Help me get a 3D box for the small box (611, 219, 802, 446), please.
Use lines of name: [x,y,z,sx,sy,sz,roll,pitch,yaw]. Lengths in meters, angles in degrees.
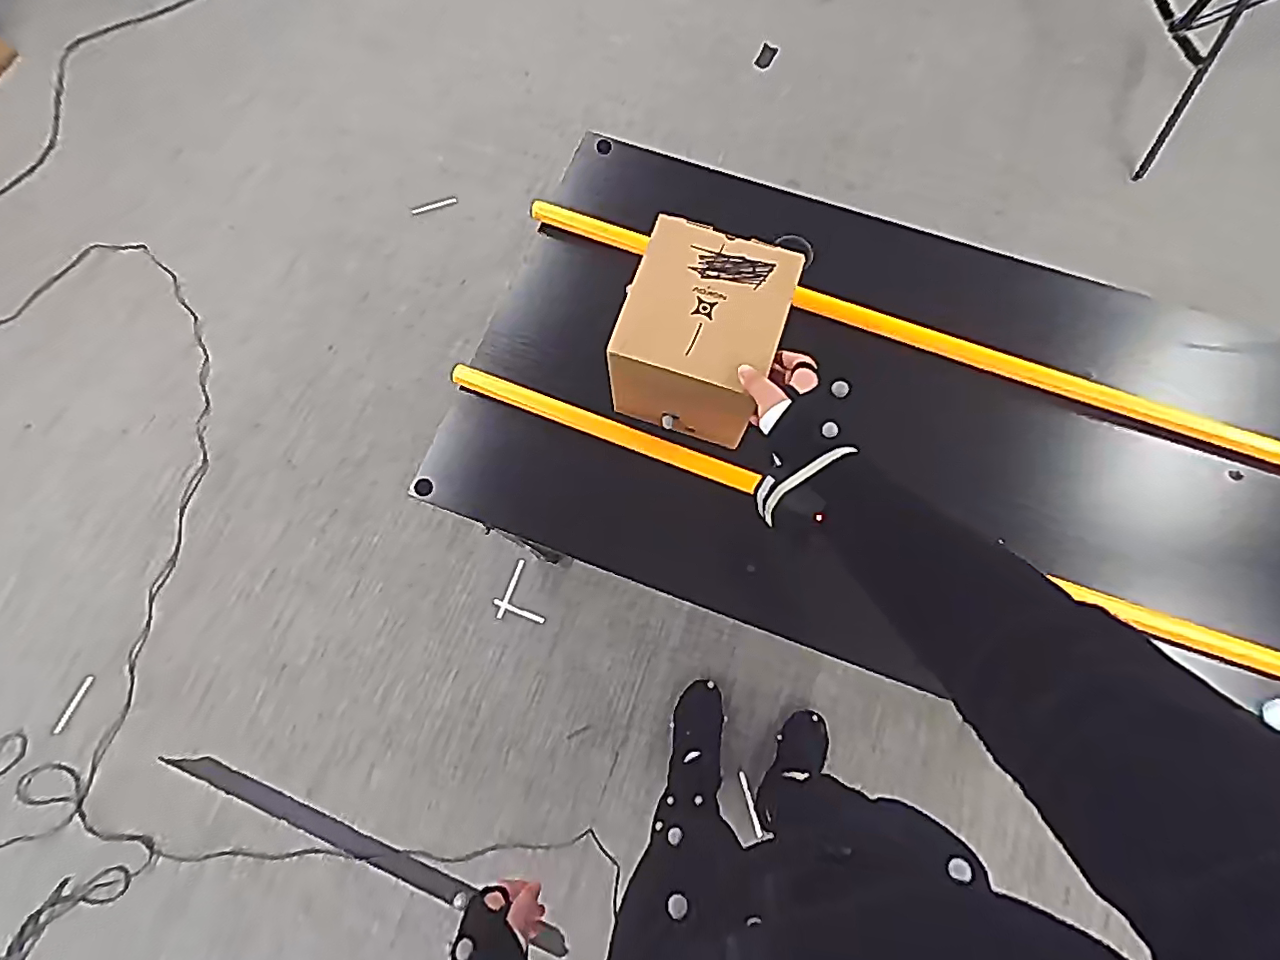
small box: [0.072,-0.164,0.646,0.168,0.176,0.179,18,77,6]
